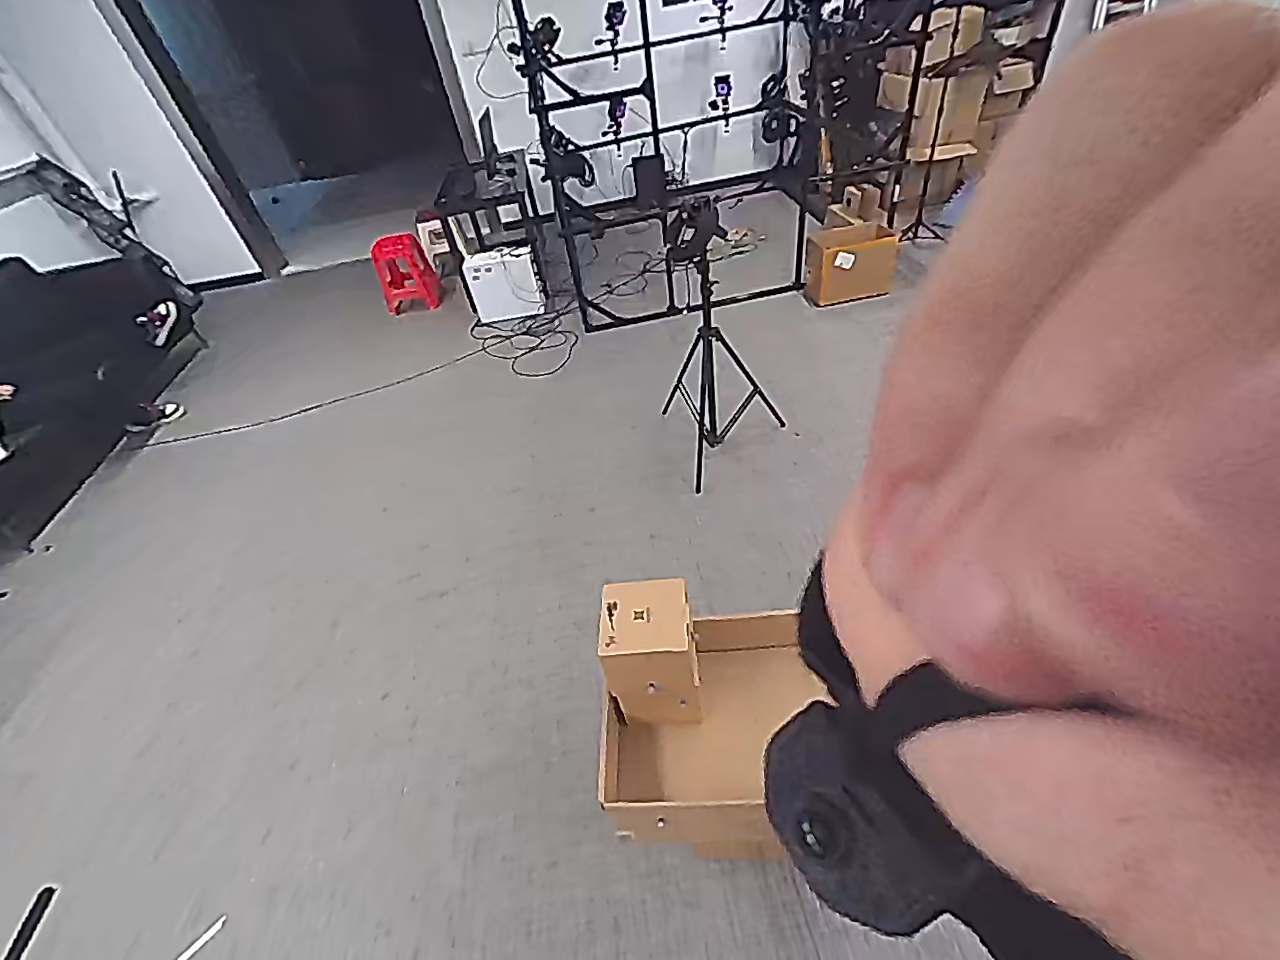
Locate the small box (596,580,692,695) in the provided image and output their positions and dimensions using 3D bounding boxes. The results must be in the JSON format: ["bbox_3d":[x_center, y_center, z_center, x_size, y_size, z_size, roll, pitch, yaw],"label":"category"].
[{"bbox_3d":[0.016,0.324,1.106,0.179,0.176,0.168,-5,42,6],"label":"small box"}]
